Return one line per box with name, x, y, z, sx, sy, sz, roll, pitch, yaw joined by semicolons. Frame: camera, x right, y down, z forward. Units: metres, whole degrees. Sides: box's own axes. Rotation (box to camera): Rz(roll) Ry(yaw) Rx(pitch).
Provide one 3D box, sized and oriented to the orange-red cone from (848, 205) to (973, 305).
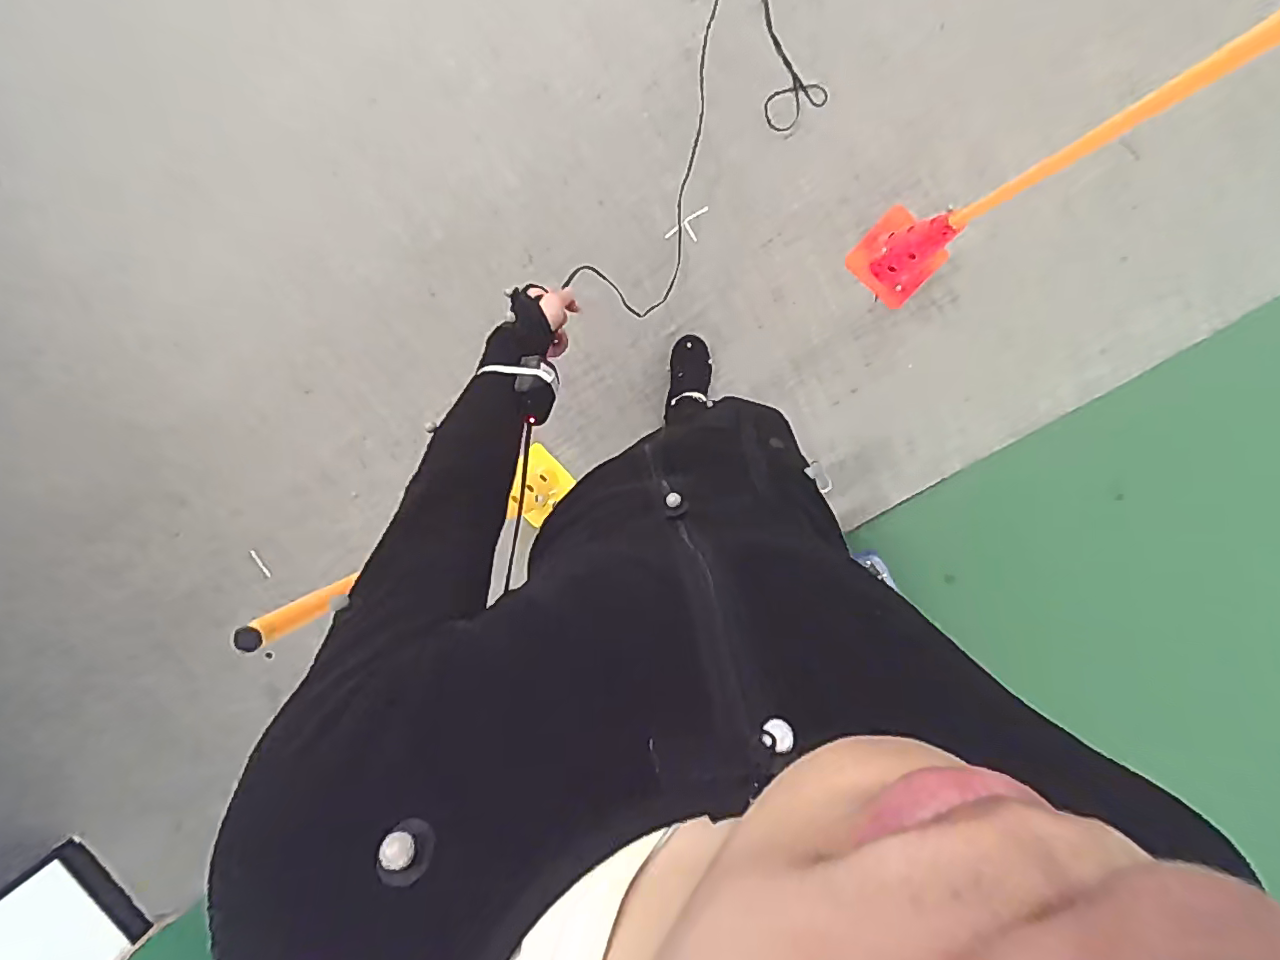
orange-red cone;0.666;-0.563;1.259;0.198;0.360;0.199;43;100;-4
